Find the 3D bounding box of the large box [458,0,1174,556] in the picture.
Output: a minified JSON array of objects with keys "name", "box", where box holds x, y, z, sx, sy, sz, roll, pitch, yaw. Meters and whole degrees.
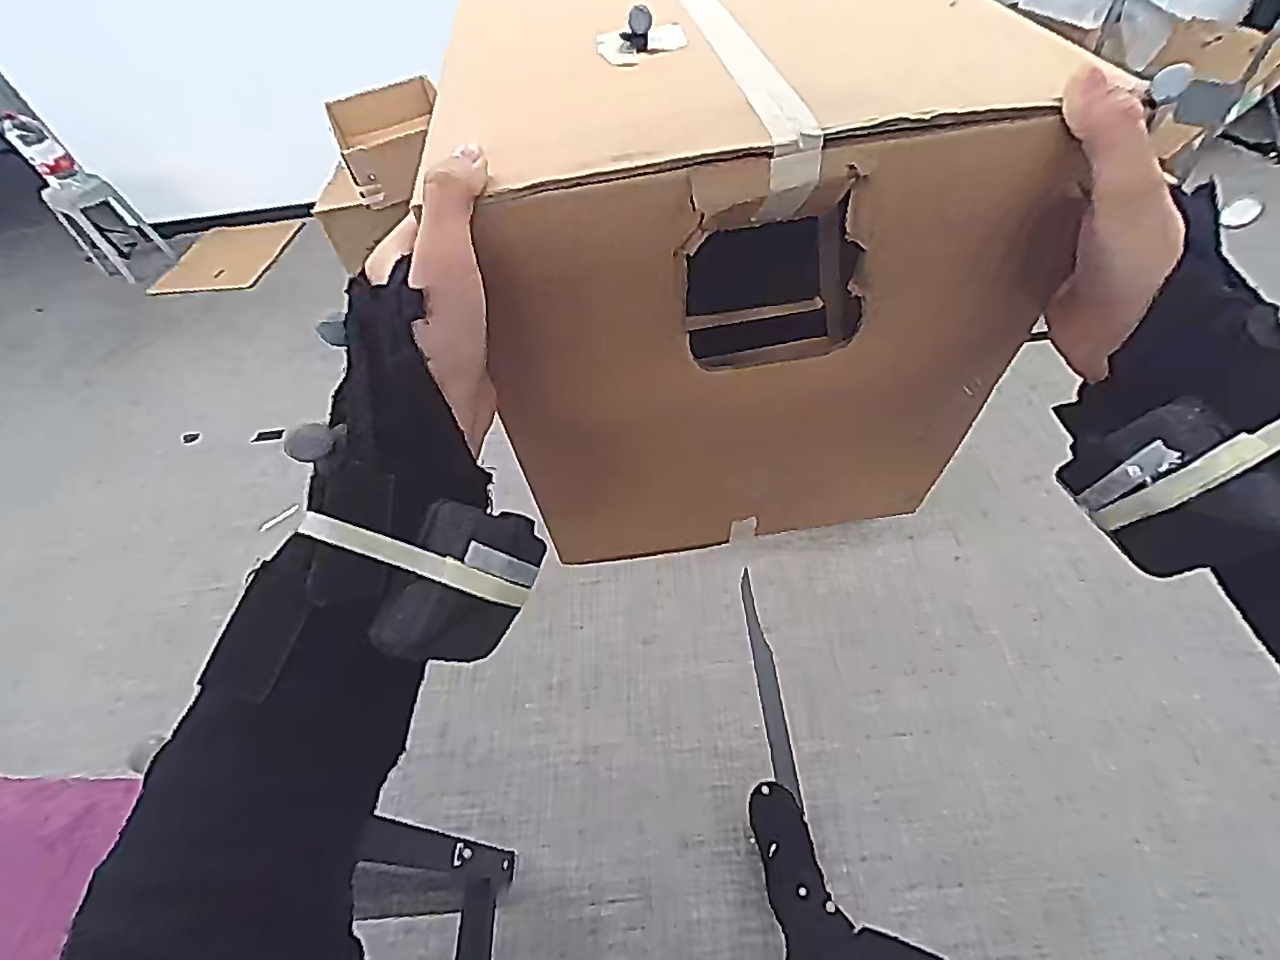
[{"name":"large box","box":[0.056,-0.200,0.457,0.320,0.320,0.408,-10,54,-1]}]
